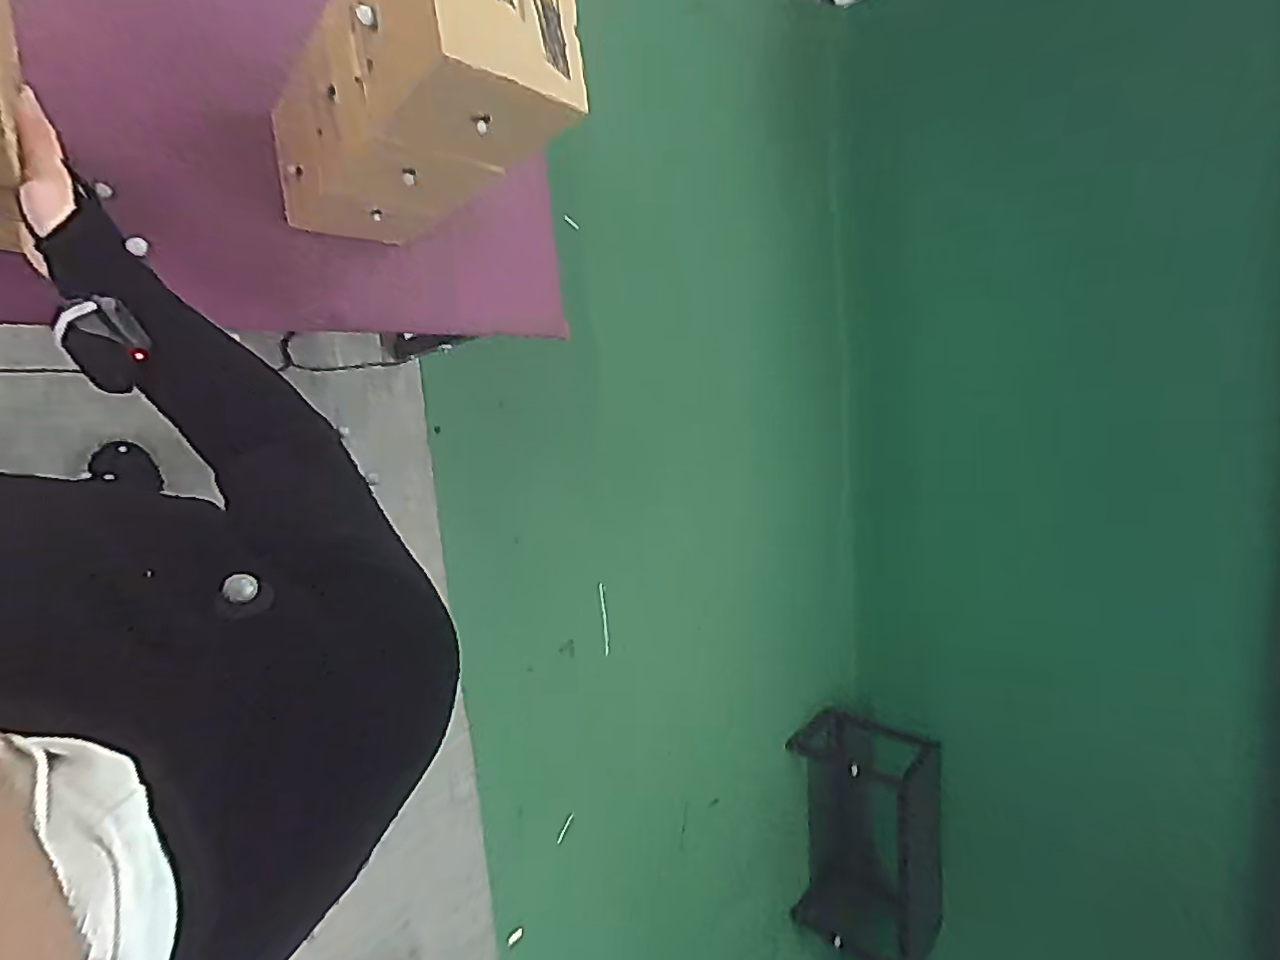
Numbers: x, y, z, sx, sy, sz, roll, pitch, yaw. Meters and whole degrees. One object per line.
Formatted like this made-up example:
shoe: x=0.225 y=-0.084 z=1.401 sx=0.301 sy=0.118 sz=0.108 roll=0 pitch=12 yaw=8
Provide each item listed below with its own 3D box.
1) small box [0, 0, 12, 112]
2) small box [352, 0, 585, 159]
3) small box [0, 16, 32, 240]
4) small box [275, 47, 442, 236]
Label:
small box: x=-0.433 y=-0.303 z=0.251 sx=0.179 sy=0.176 sz=0.168 roll=-6 pitch=98 yaw=-45
small box: x=-0.184 y=-0.475 z=0.584 sx=0.179 sy=0.176 sz=0.168 roll=-14 pitch=103 yaw=-45
small box: x=-0.670 y=-0.330 z=0.475 sx=0.179 sy=0.176 sz=0.168 roll=-4 pitch=95 yaw=-45
small box: x=-0.423 y=-0.483 z=0.808 sx=0.179 sy=0.176 sz=0.168 roll=-11 pitch=100 yaw=-46
